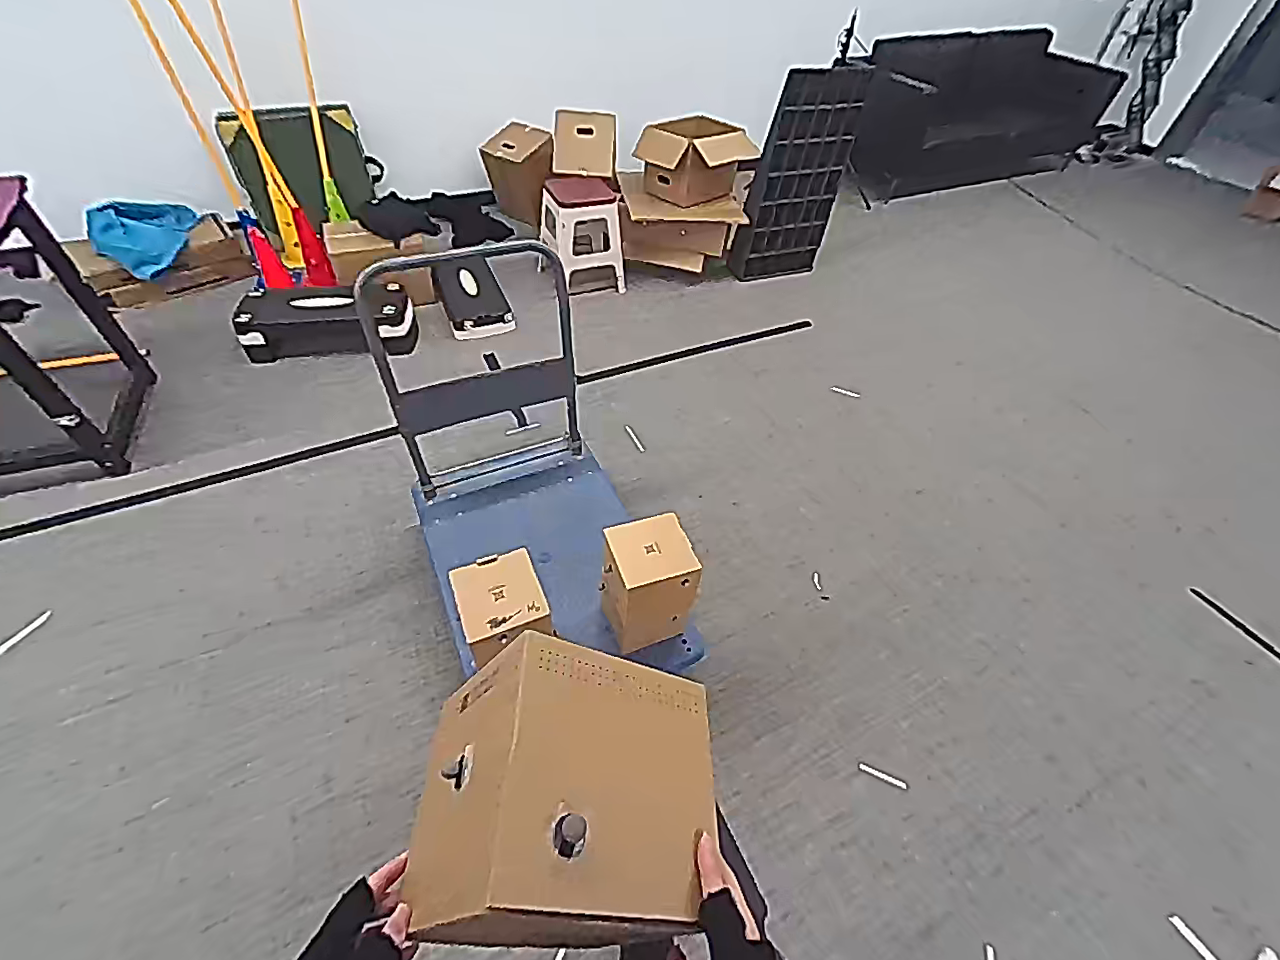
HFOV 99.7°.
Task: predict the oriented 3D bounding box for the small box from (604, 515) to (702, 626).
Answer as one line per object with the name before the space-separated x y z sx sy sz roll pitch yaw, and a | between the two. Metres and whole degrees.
small box | 0.022 0.211 1.240 0.179 0.176 0.168 -12 50 -17

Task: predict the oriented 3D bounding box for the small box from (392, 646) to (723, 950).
small box | -0.059 0.252 0.429 0.179 0.168 0.176 28 40 -25

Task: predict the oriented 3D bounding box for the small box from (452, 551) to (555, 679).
small box | -0.286 0.285 1.143 0.168 0.176 0.179 -17 51 -18
